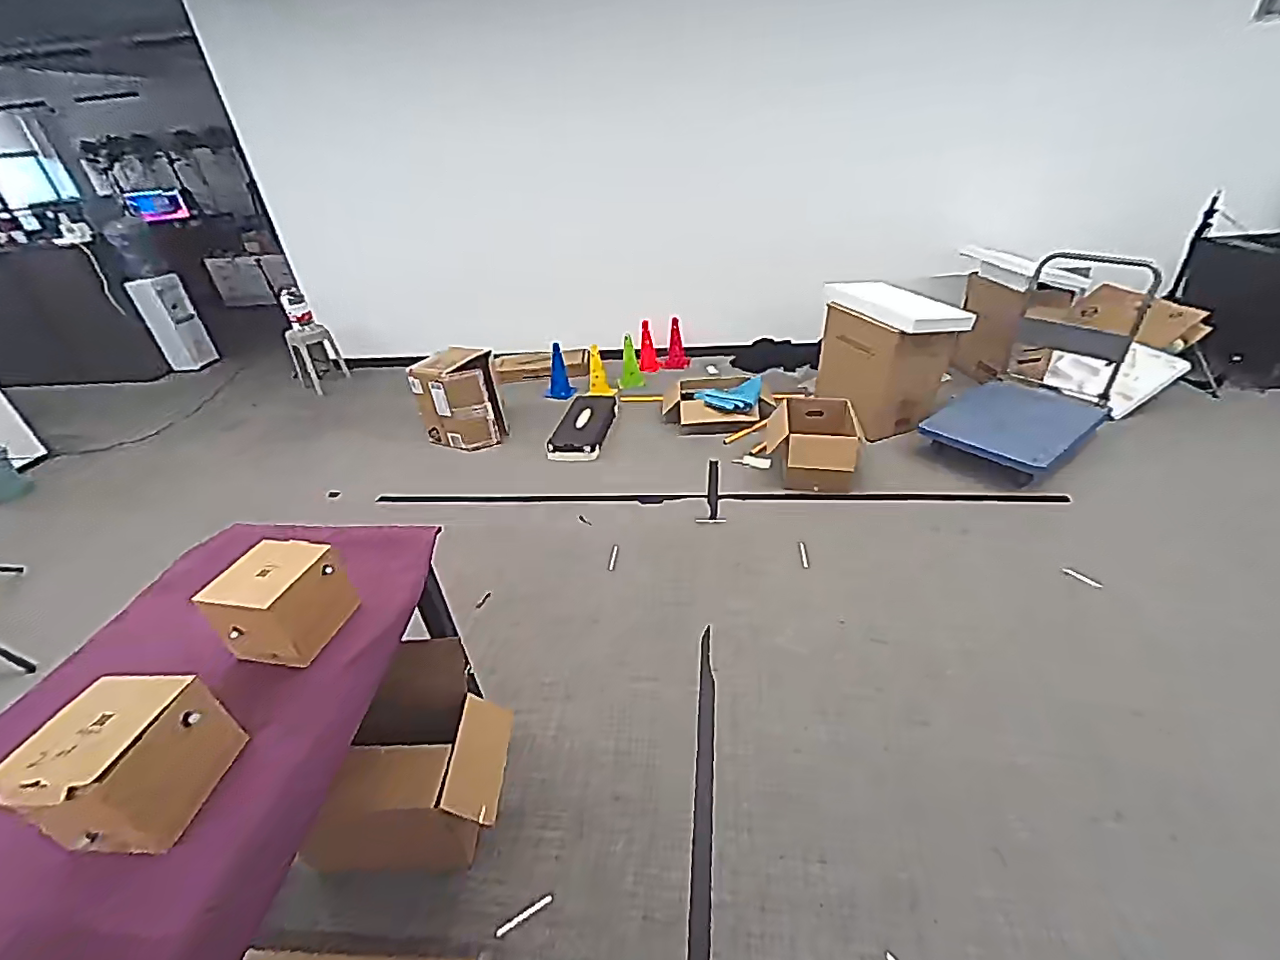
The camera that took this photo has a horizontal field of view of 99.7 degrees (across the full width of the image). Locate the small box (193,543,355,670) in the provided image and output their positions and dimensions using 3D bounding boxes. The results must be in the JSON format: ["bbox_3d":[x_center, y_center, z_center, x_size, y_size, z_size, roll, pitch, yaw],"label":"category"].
[{"bbox_3d":[-0.700,0.247,1.061,0.168,0.176,0.179,2,33,12],"label":"small box"}]

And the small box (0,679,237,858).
[{"bbox_3d":[-0.747,0.420,0.798,0.168,0.176,0.179,-4,33,7],"label":"small box"}]
